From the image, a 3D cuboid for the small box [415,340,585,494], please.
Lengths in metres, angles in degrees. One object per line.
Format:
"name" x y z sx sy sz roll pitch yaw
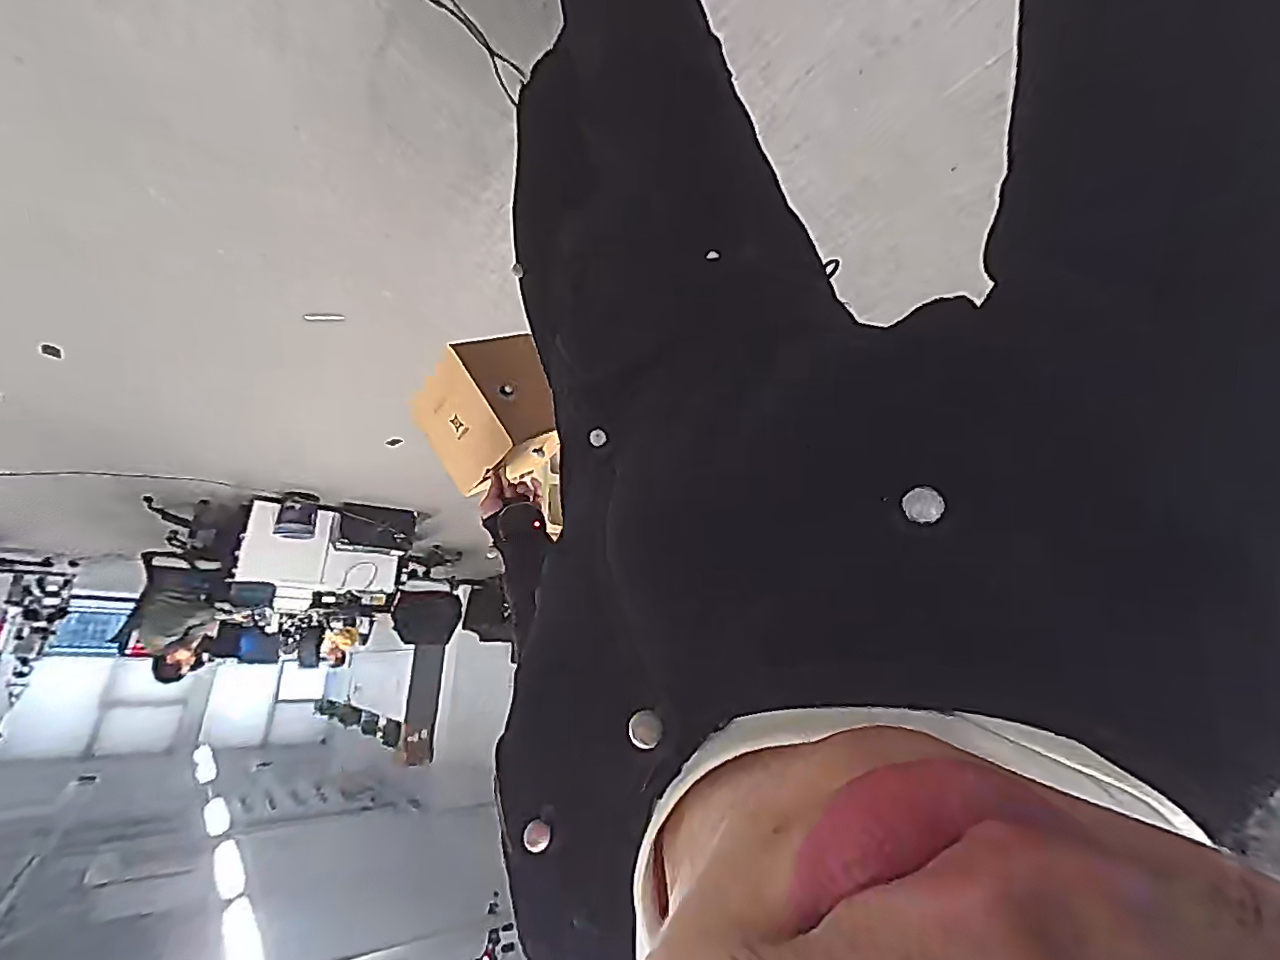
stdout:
"small box" -0.222 -0.108 0.876 0.168 0.179 0.176 -35 175 39
